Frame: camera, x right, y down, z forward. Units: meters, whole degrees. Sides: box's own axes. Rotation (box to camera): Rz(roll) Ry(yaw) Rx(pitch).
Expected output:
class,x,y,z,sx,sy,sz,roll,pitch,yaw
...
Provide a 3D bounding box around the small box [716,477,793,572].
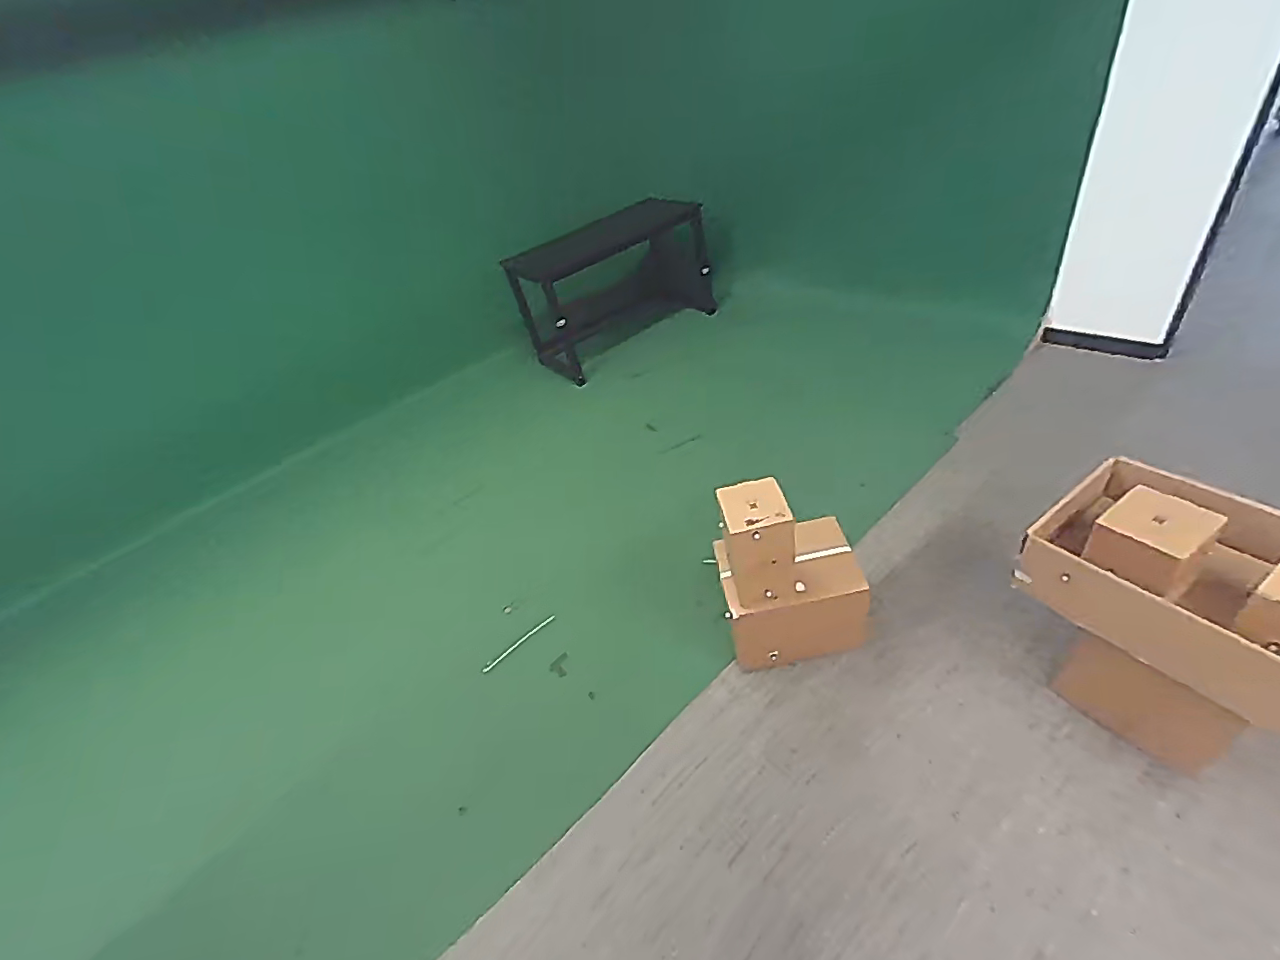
class,x,y,z,sx,sy,sz,roll,pitch,yaw
small box,0.310,0.121,1.467,0.168,0.176,0.179,-13,39,3

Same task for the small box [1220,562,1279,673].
class,x,y,z,sx,sy,sz,roll,pitch,yaw
small box,1.301,0.269,1.052,0.179,0.176,0.168,-31,41,-17

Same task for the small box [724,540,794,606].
class,x,y,z,sx,sy,sz,roll,pitch,yaw
small box,0.343,0.237,1.579,0.168,0.176,0.179,-13,40,4
